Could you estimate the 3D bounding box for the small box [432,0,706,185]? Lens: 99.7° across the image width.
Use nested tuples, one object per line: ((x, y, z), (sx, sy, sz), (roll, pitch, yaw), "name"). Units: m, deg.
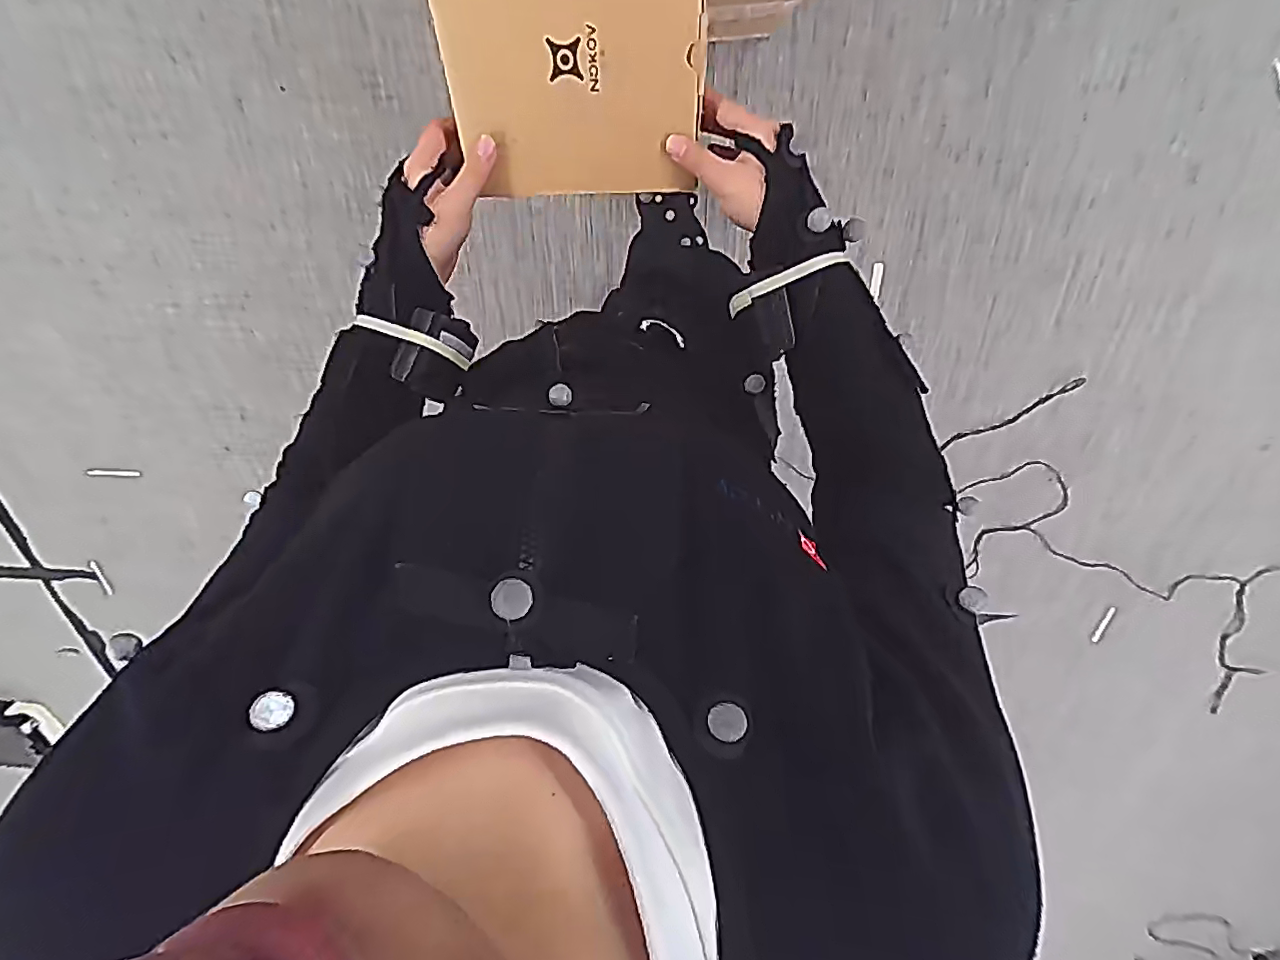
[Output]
((-0.044, -0.339, 0.417), (0.179, 0.176, 0.168), (-2, 132, 1), "small box")
